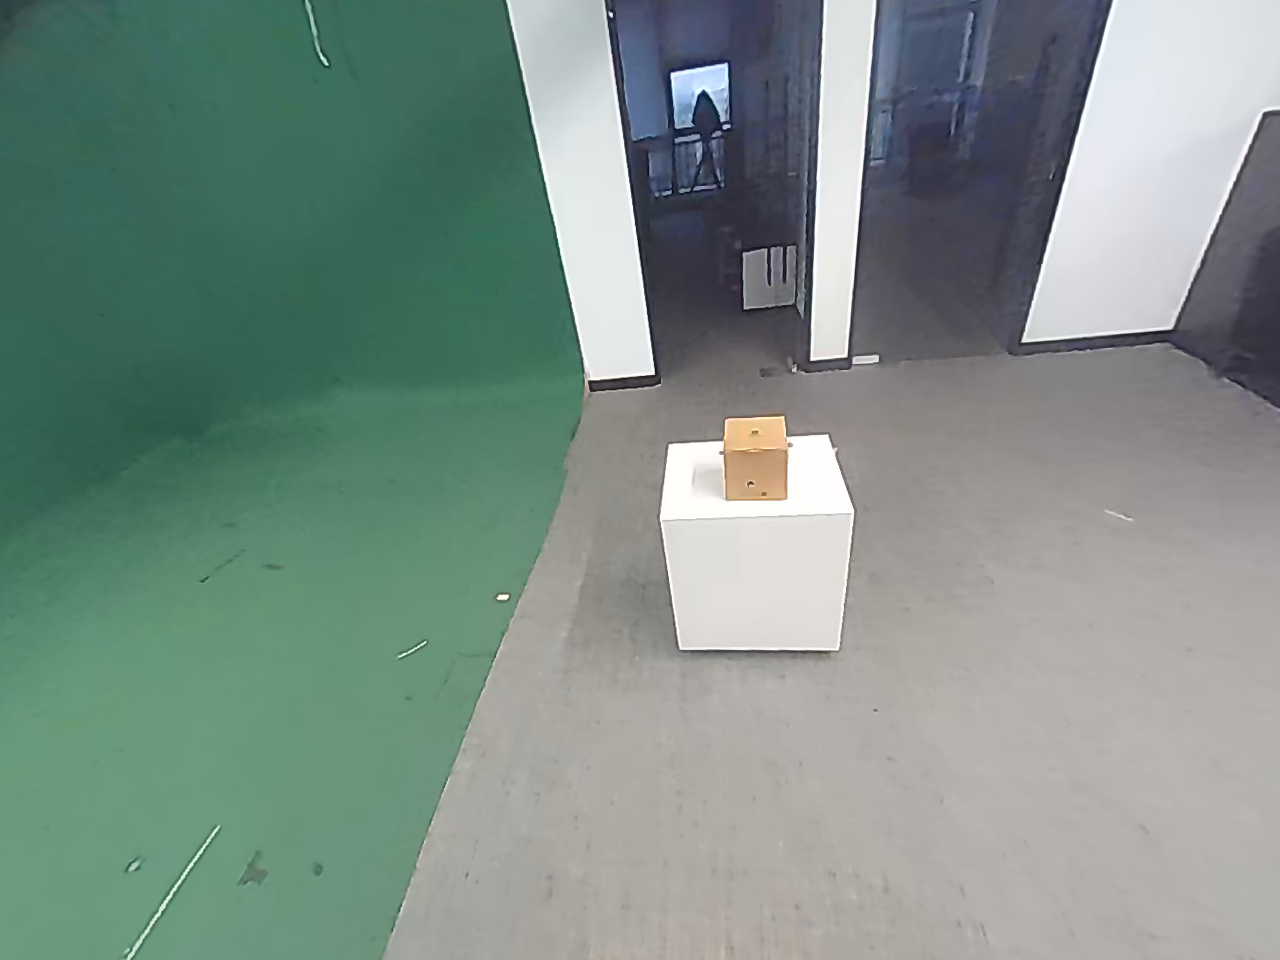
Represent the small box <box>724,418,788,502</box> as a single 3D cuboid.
[{"bbox_3d":[0.319,-0.057,1.497,0.168,0.176,0.179,-2,34,12],"label":"small box"}]
